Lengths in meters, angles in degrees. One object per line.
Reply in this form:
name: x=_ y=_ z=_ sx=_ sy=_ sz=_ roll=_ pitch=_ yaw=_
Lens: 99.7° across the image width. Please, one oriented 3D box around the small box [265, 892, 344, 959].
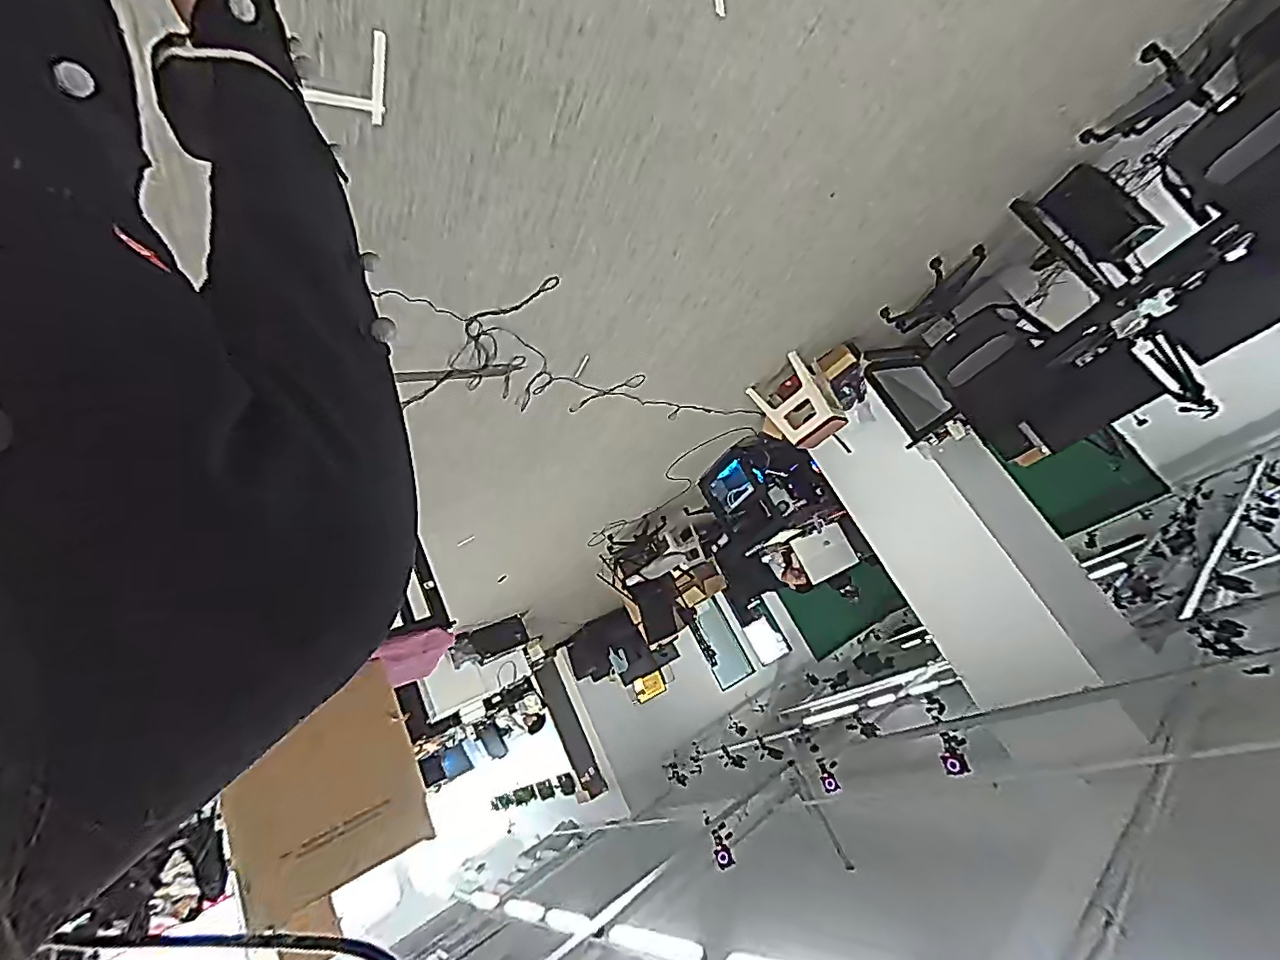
small box: x=-1.067 y=1.450 z=1.722 sx=0.179 sy=0.176 sz=0.168 roll=-14 pitch=158 yaw=-36
